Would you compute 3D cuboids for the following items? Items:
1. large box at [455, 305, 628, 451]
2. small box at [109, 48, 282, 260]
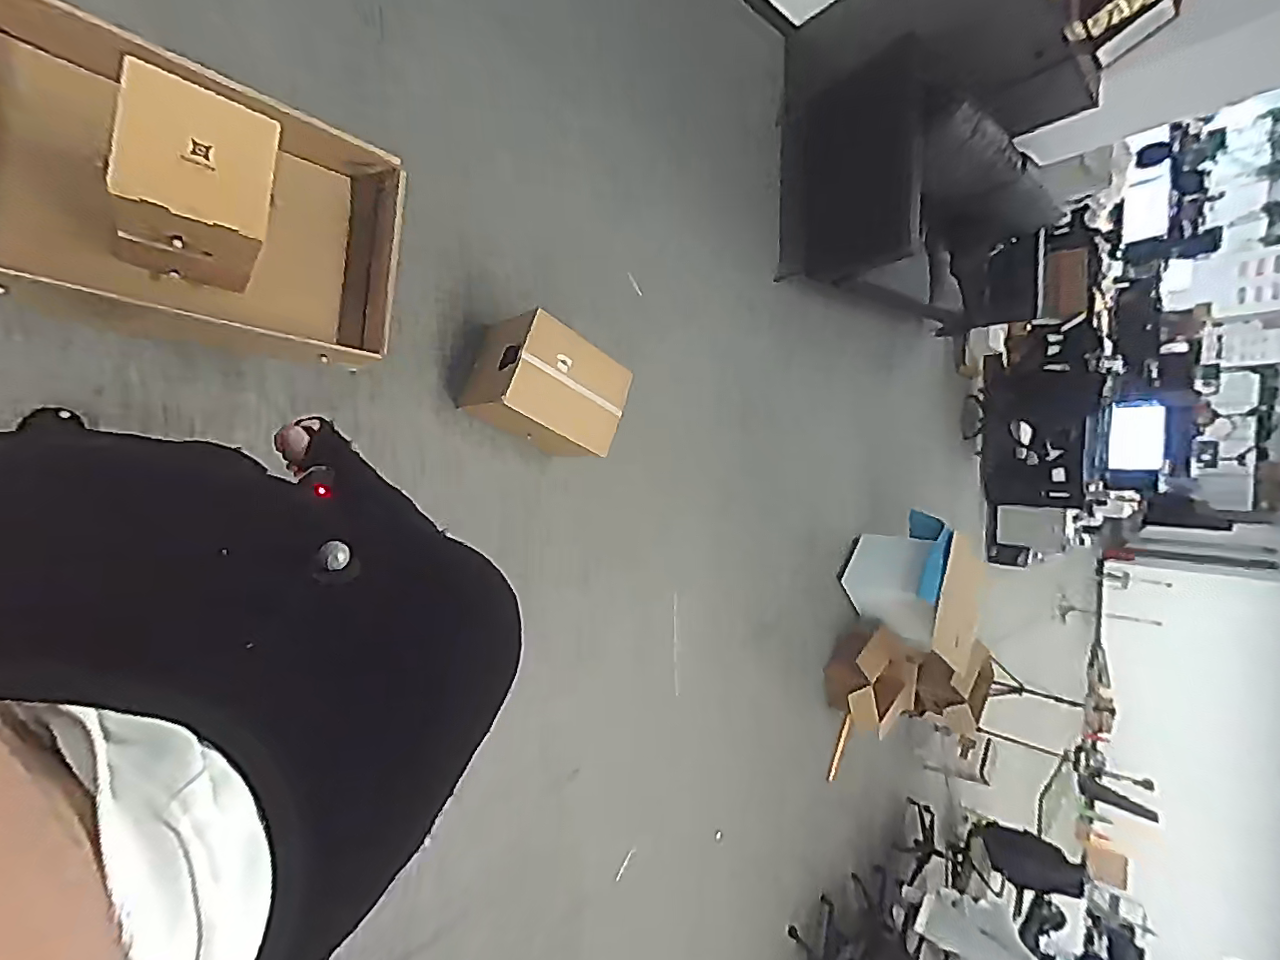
[{"bbox_3d":[-0.315,-0.306,1.767,0.408,0.320,0.320,28,74,-39],"label":"large box"},{"bbox_3d":[-0.633,-0.444,0.774,0.168,0.176,0.179,7,88,-41],"label":"small box"}]
